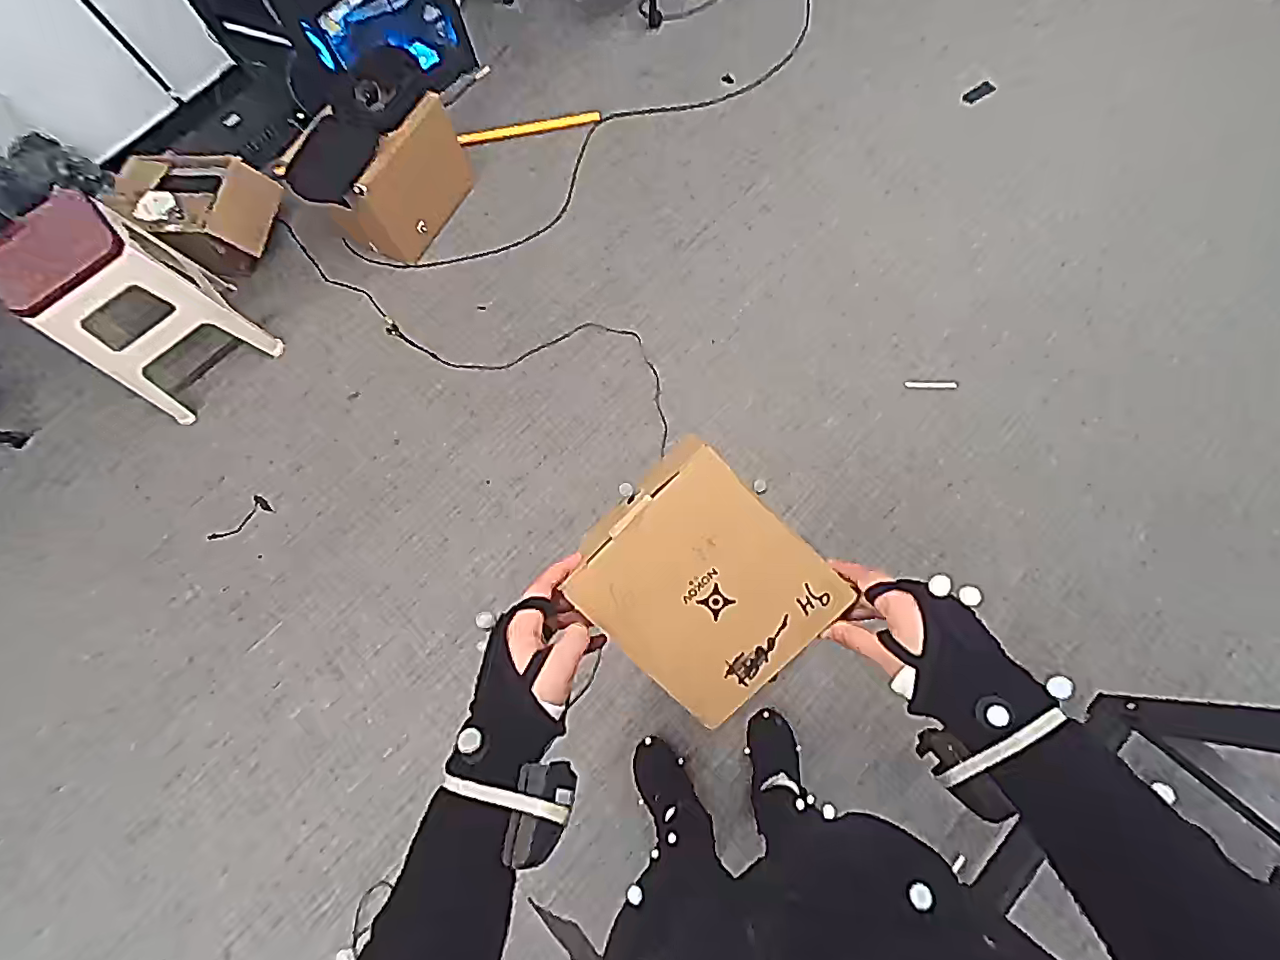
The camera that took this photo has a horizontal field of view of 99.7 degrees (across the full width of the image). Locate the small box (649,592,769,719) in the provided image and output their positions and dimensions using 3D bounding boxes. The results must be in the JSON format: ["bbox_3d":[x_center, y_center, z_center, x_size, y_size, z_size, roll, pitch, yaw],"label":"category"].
[{"bbox_3d":[0.138,0.356,1.102,0.168,0.176,0.179,35,76,14],"label":"small box"}]
